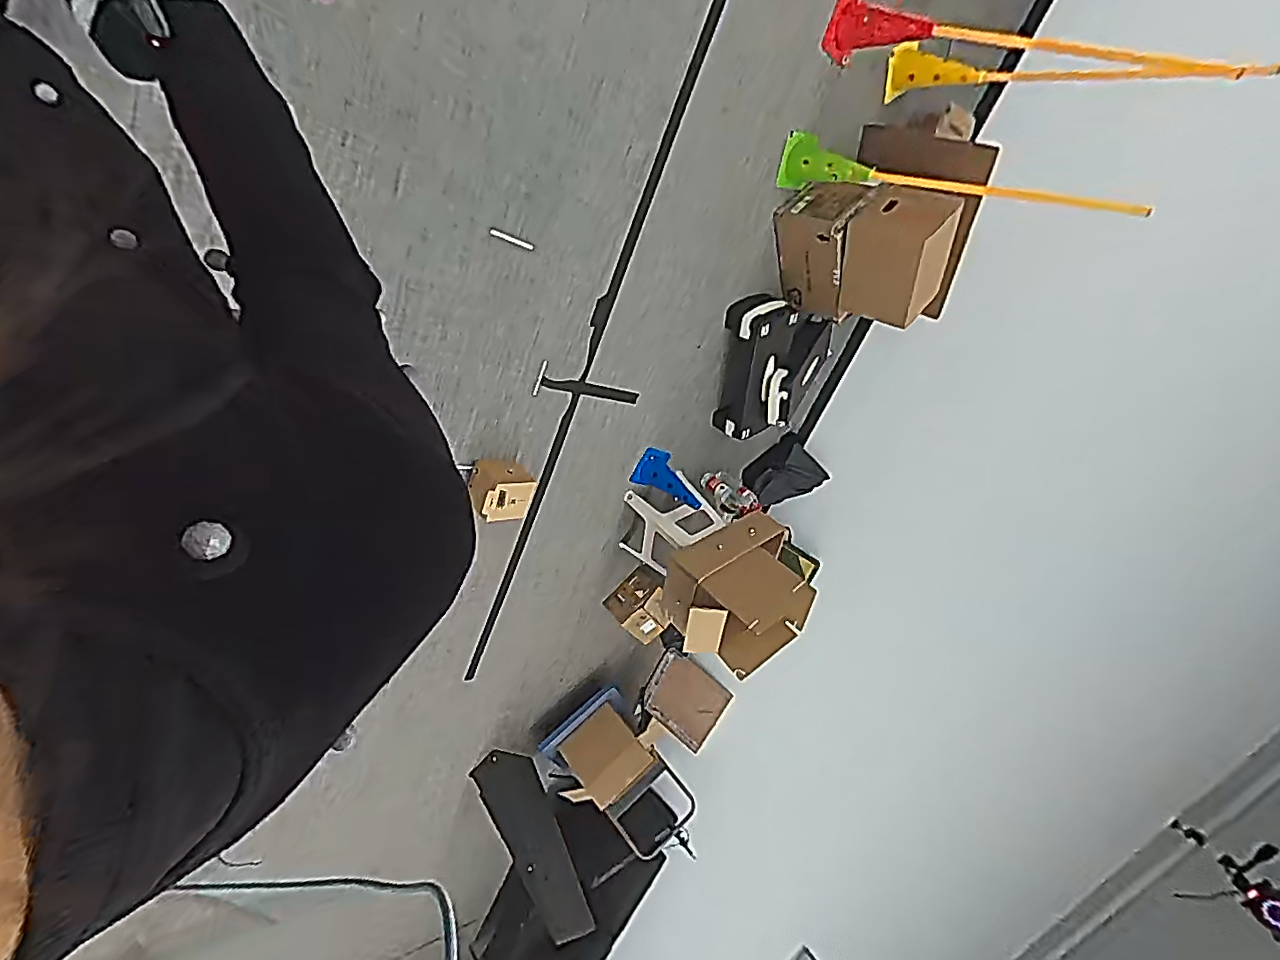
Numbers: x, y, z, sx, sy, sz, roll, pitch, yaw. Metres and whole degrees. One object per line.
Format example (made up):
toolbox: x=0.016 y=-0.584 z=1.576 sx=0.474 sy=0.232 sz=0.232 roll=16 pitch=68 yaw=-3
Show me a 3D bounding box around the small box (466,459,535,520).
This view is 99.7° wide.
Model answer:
small box: x=-0.529 y=0.031 z=2.031 sx=0.179 sy=0.176 sz=0.168 roll=-2 pitch=123 yaw=-47
